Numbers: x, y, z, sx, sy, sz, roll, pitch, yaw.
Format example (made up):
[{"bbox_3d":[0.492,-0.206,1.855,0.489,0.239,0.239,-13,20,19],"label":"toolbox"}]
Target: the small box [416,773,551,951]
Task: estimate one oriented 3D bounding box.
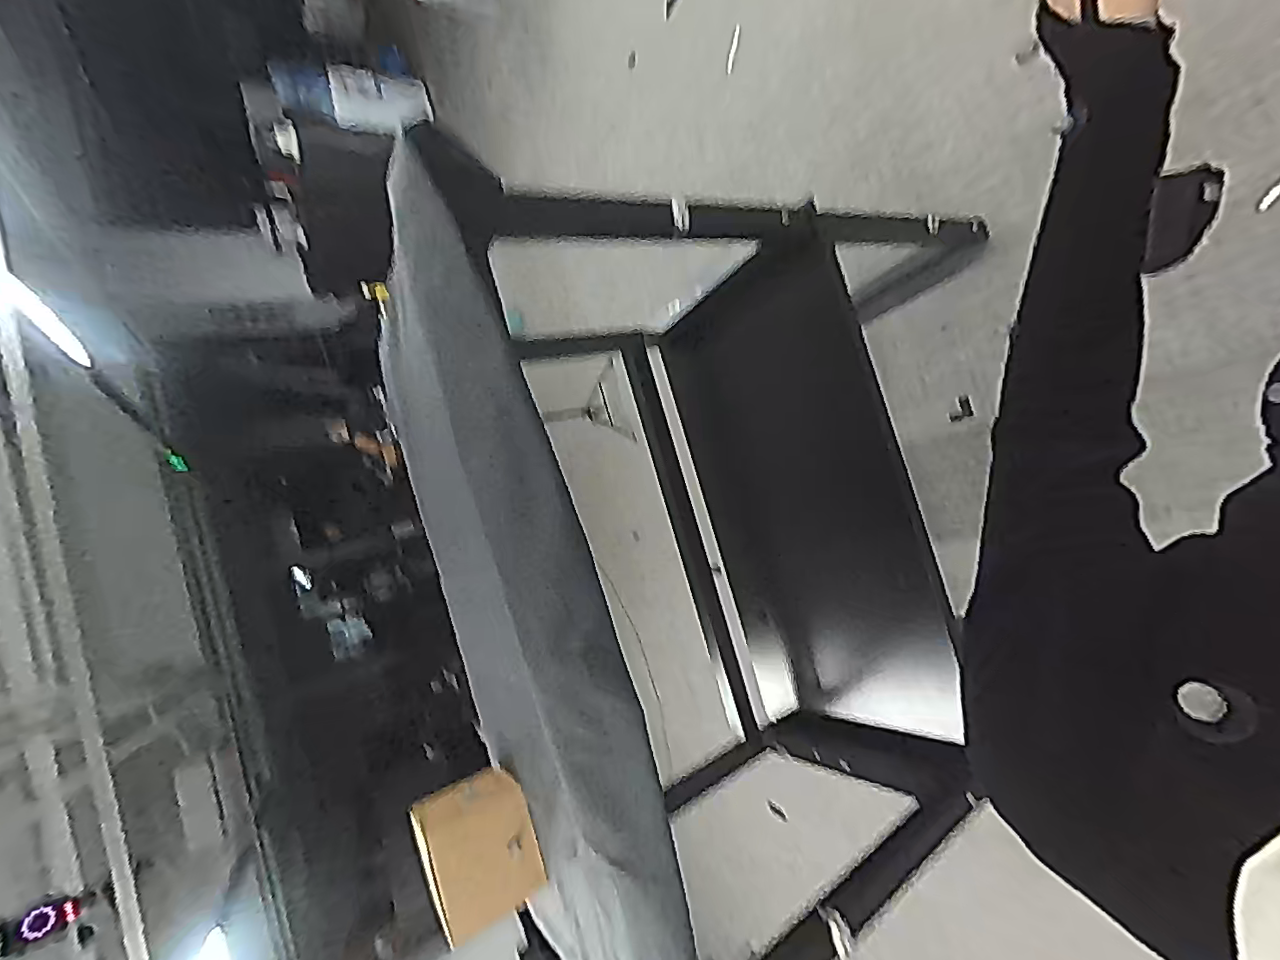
[{"bbox_3d":[-0.278,0.652,0.955,0.168,0.176,0.179,-27,78,58],"label":"small box"}]
